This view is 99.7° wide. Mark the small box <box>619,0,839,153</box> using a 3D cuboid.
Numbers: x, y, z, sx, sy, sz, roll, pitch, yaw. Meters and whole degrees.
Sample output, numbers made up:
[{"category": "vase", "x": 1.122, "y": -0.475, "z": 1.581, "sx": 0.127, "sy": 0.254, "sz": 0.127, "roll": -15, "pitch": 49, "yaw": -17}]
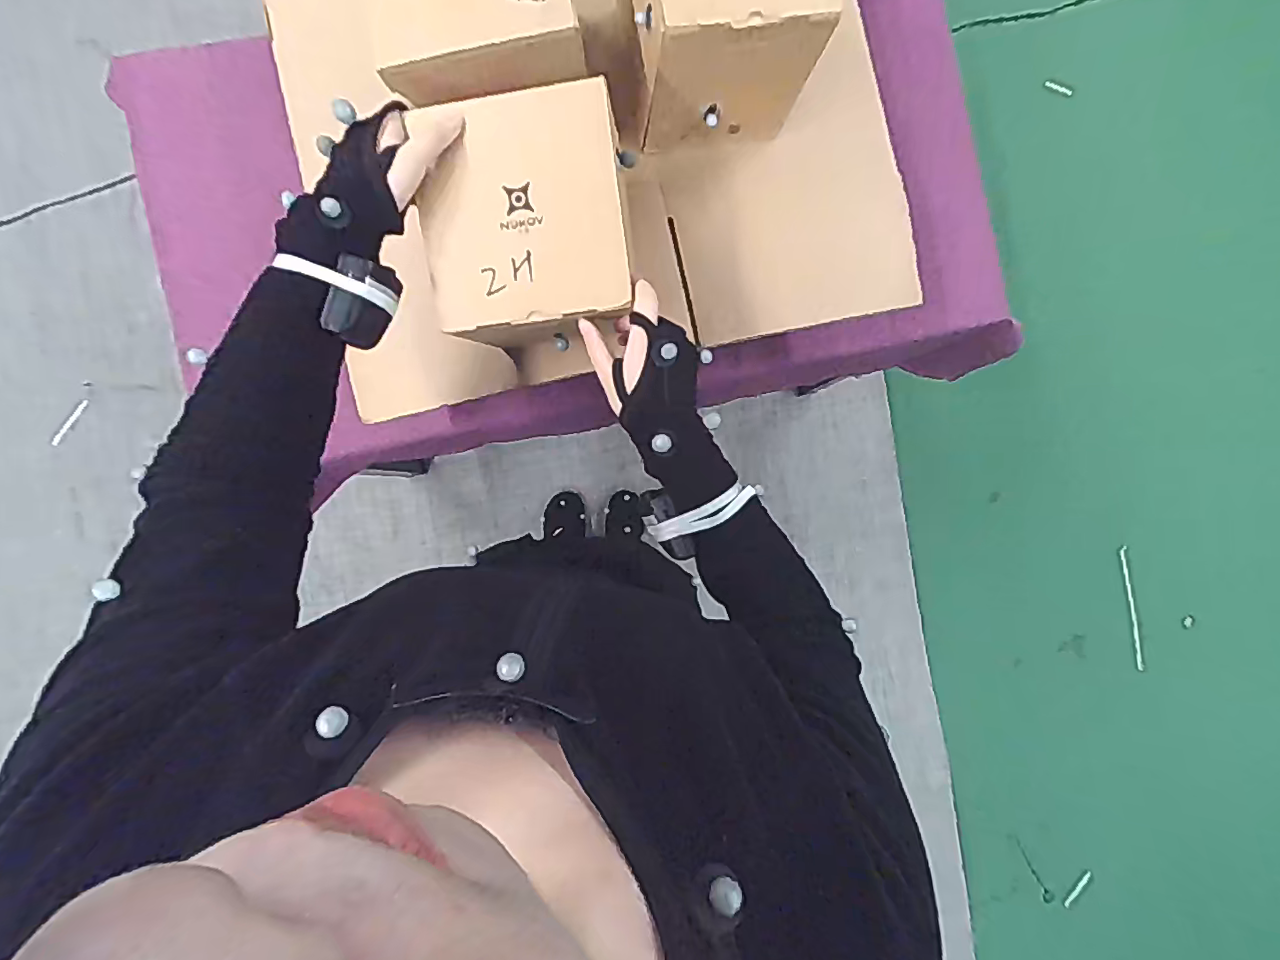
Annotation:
[{"category": "small box", "x": 0.076, "y": -0.478, "z": 0.557, "sx": 0.168, "sy": 0.176, "sz": 0.179, "roll": -10, "pitch": 91, "yaw": -6}]
